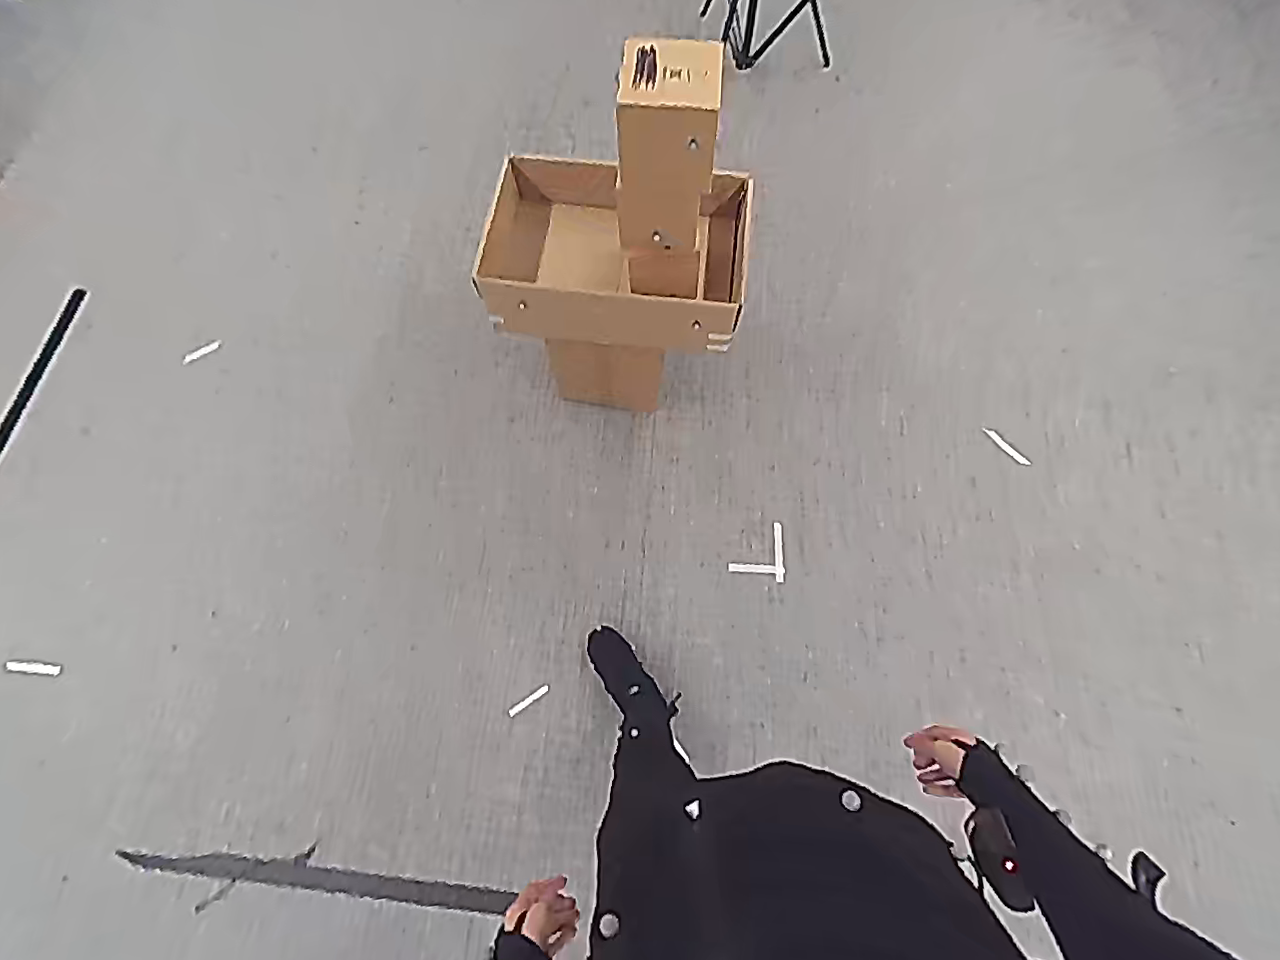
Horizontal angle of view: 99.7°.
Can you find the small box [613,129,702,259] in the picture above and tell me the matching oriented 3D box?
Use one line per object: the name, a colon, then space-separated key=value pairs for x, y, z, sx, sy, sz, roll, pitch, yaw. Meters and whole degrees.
small box: x=0.037 y=-0.602 z=1.147 sx=0.168 sy=0.176 sz=0.179 roll=5 pitch=71 yaw=4
